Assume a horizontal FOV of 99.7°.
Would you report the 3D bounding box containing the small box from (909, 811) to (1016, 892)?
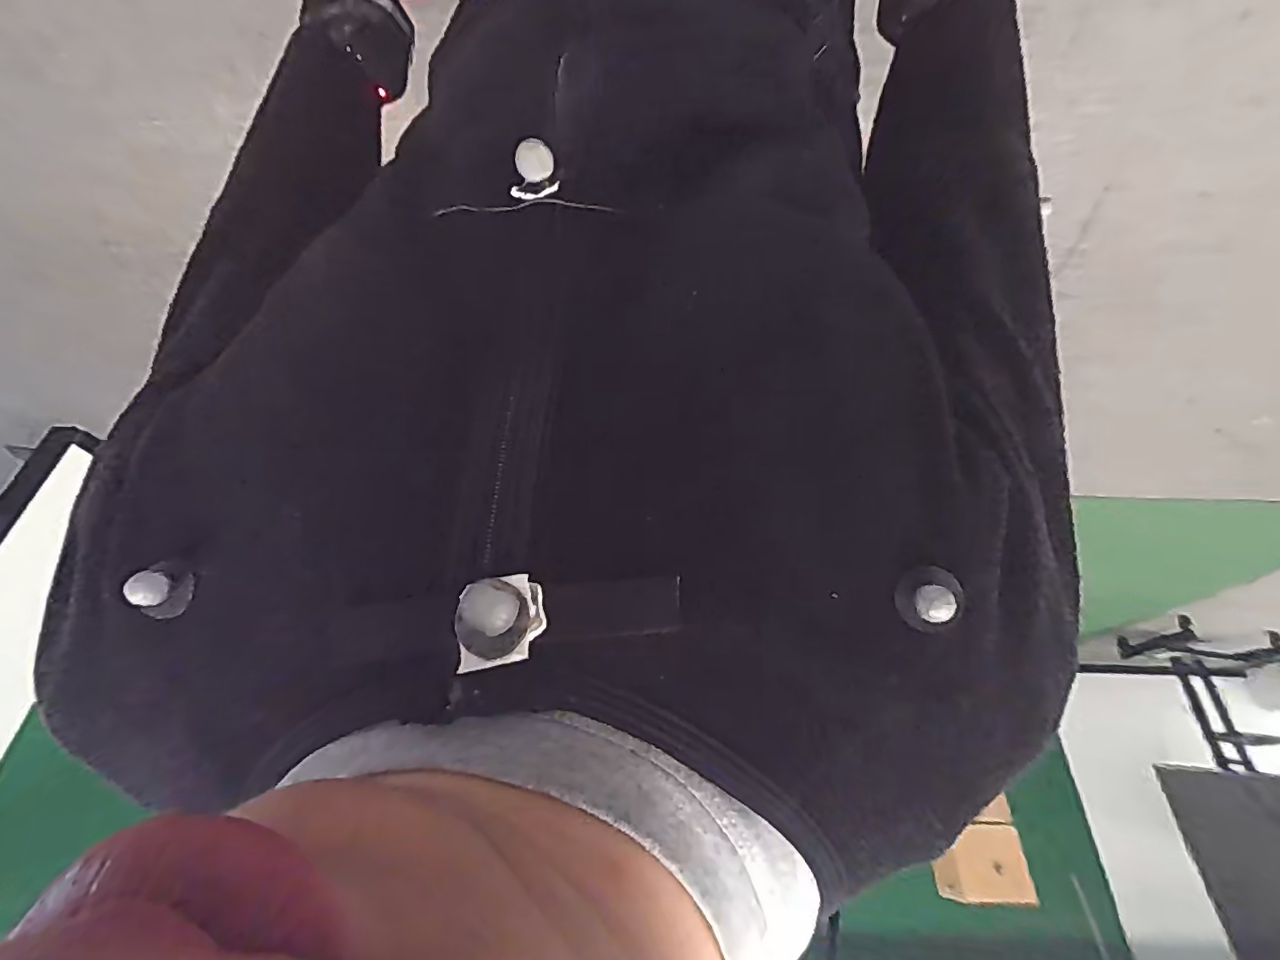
[{"bbox_3d":[0.873,1.011,1.481,0.179,0.176,0.168,-1,148,2],"label":"small box"}]
